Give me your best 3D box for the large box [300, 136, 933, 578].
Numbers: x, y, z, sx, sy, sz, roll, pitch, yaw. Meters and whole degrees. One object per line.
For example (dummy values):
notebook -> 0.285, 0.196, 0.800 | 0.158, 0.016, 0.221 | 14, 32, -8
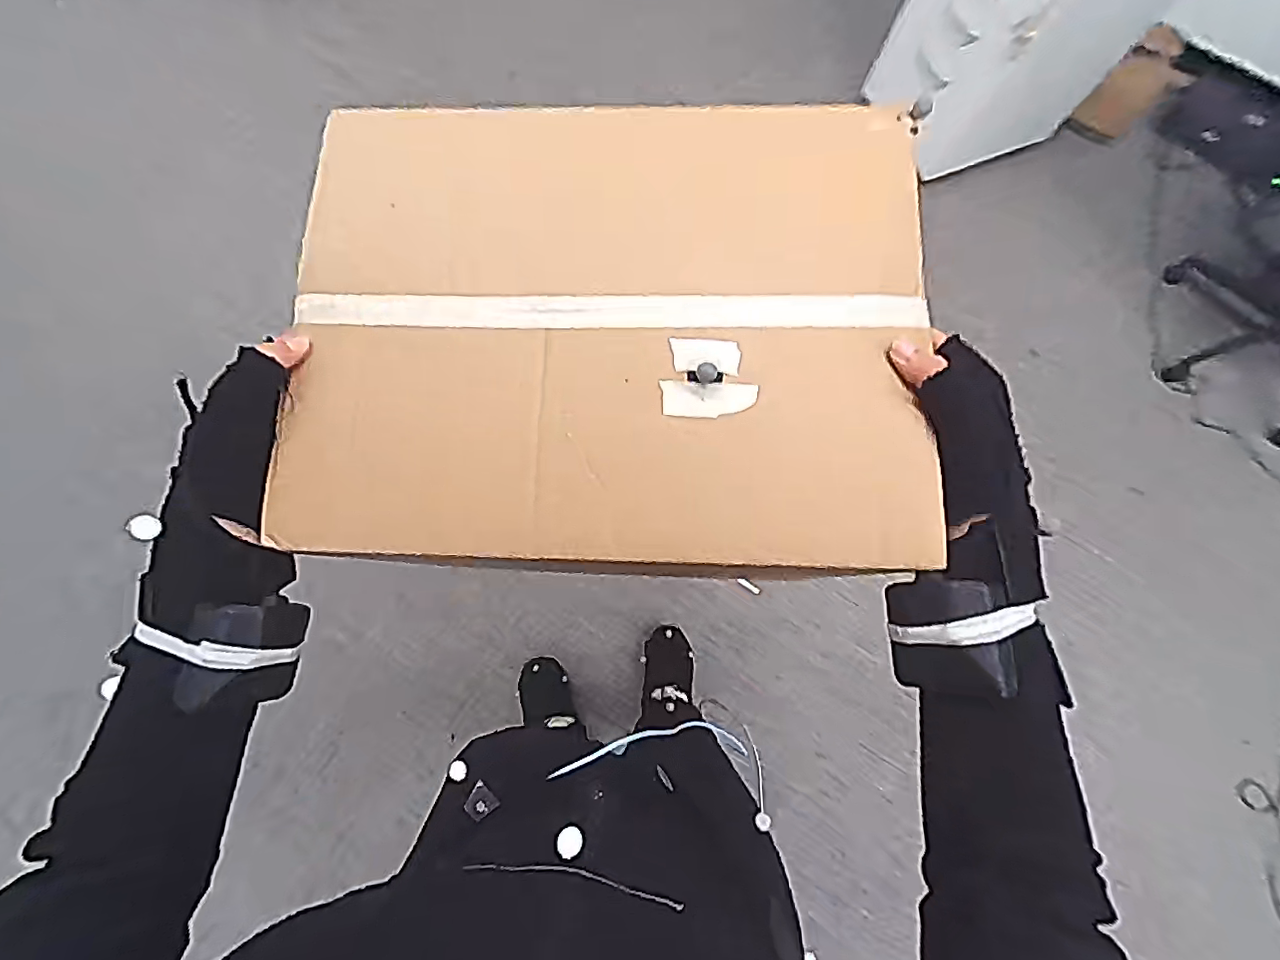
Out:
large box -> -0.011, -0.071, 0.510 | 0.408, 0.320, 0.320 | 2, 79, 2
